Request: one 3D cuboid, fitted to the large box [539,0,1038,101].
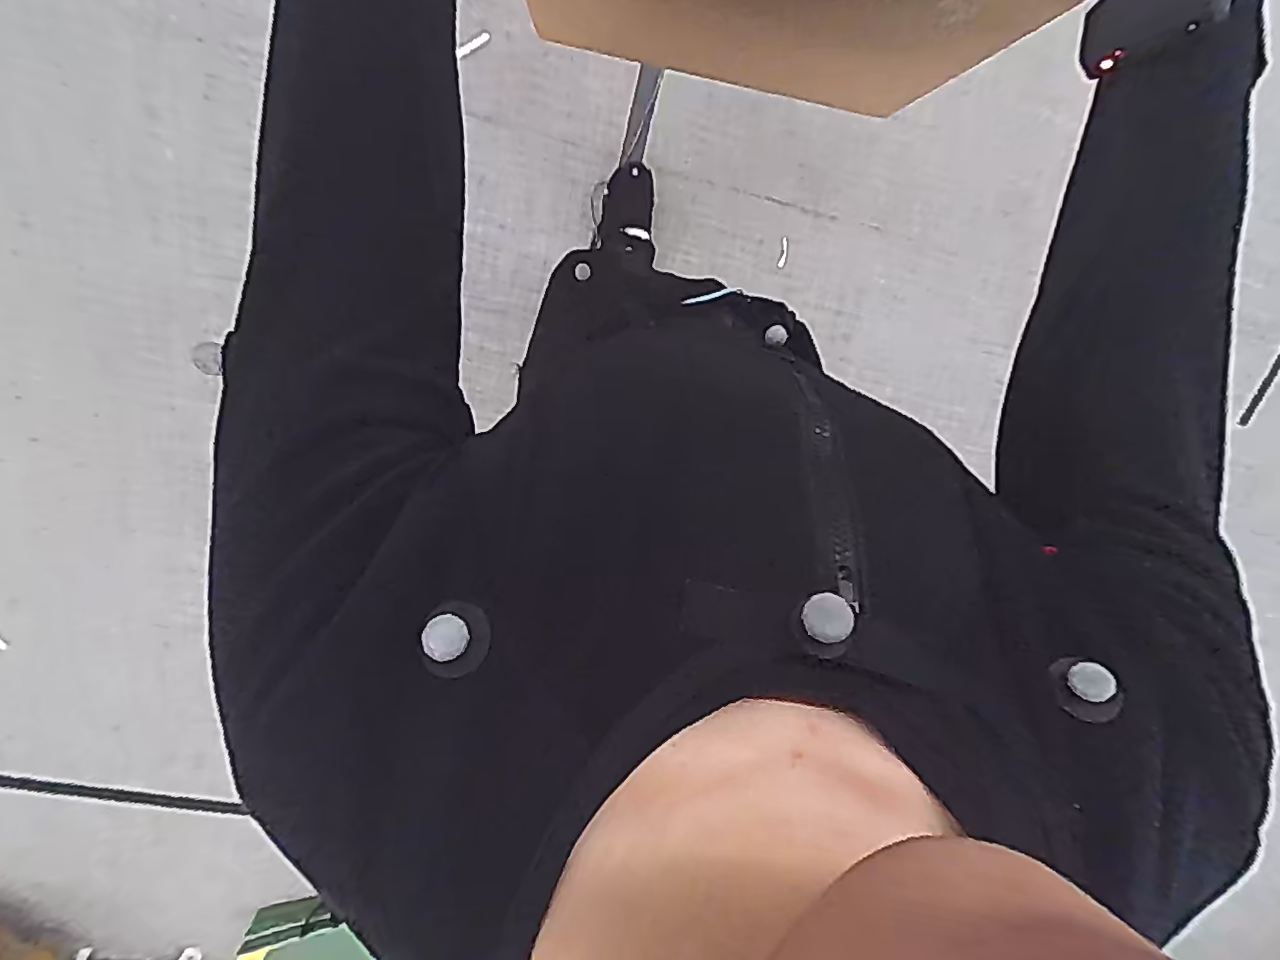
[{"bbox_3d":[0.121,-0.550,0.417,0.408,0.320,0.320,9,111,-6],"label":"large box"}]
